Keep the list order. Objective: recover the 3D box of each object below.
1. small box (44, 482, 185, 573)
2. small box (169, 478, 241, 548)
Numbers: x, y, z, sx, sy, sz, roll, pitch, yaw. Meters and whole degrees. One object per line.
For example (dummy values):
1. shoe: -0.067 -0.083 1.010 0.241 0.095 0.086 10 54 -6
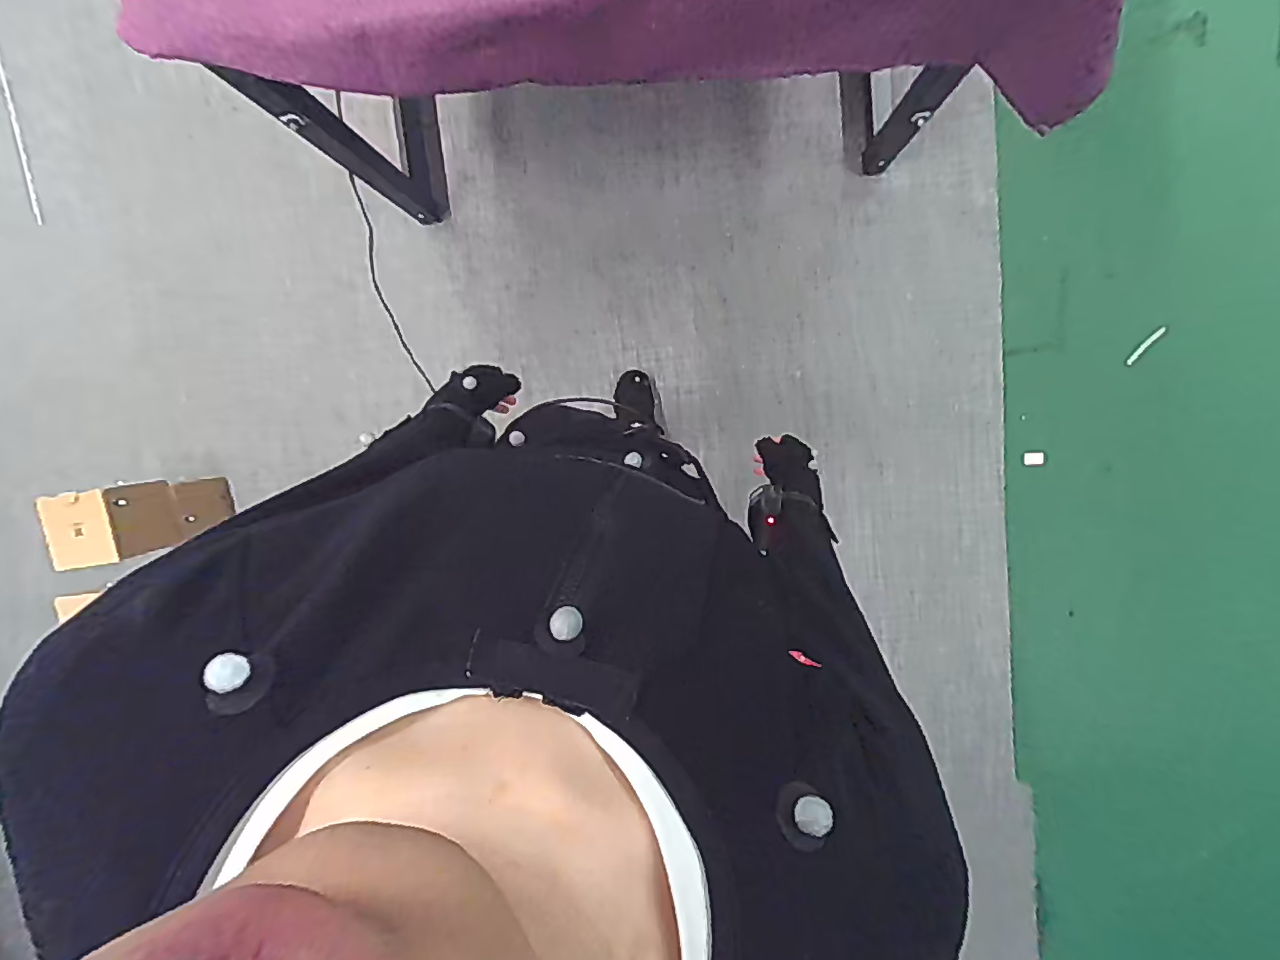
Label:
1. small box: -1.267 0.110 1.321 0.168 0.176 0.179 -9 96 5
2. small box: -1.252 0.093 1.482 0.179 0.176 0.168 -8 98 5
